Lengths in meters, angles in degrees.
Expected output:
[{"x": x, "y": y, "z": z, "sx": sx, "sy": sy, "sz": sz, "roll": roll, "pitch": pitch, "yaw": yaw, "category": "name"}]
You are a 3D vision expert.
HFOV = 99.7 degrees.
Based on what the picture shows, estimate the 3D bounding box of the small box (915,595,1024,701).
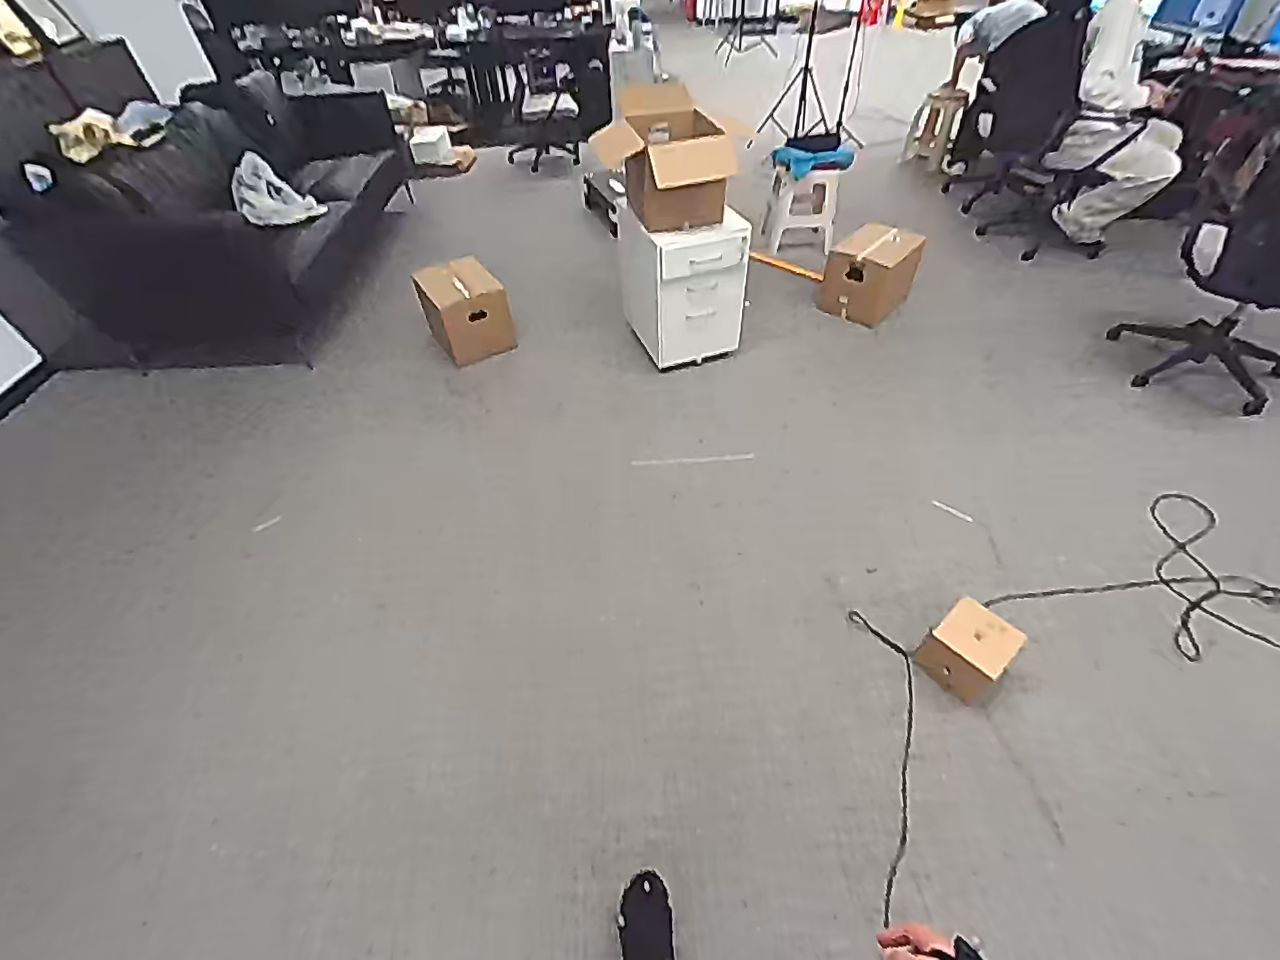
[{"x": 0.857, "y": 0.446, "z": 1.426, "sx": 0.179, "sy": 0.176, "sz": 0.168, "roll": -33, "pitch": 53, "yaw": -25, "category": "small box"}]
